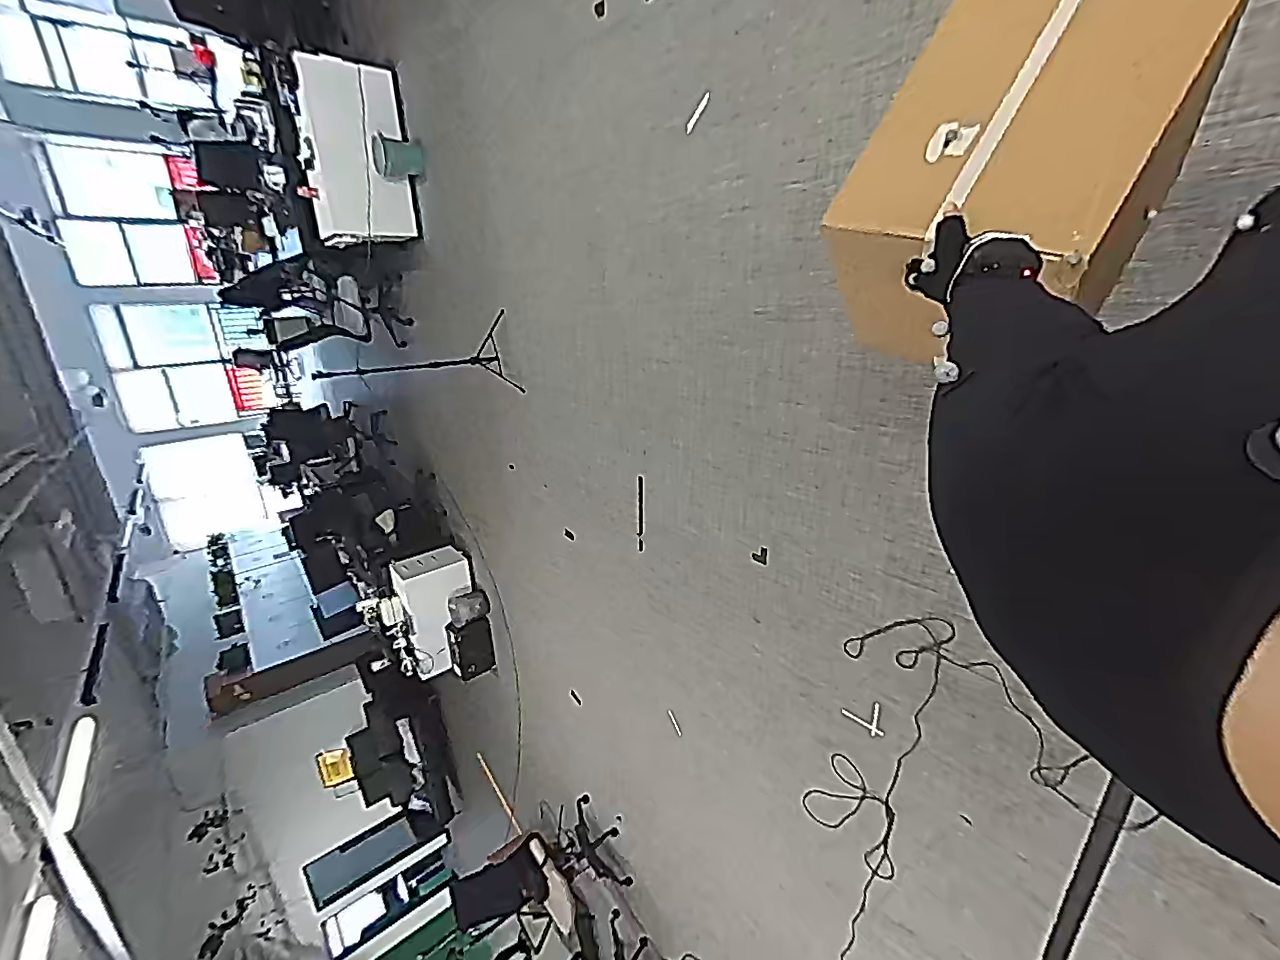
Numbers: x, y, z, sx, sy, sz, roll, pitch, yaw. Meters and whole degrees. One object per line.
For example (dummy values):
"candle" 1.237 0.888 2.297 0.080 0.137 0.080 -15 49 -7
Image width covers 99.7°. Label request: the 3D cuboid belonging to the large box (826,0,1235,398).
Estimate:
"large box" 0.538 -0.398 0.800 0.320 0.320 0.408 29 85 38
